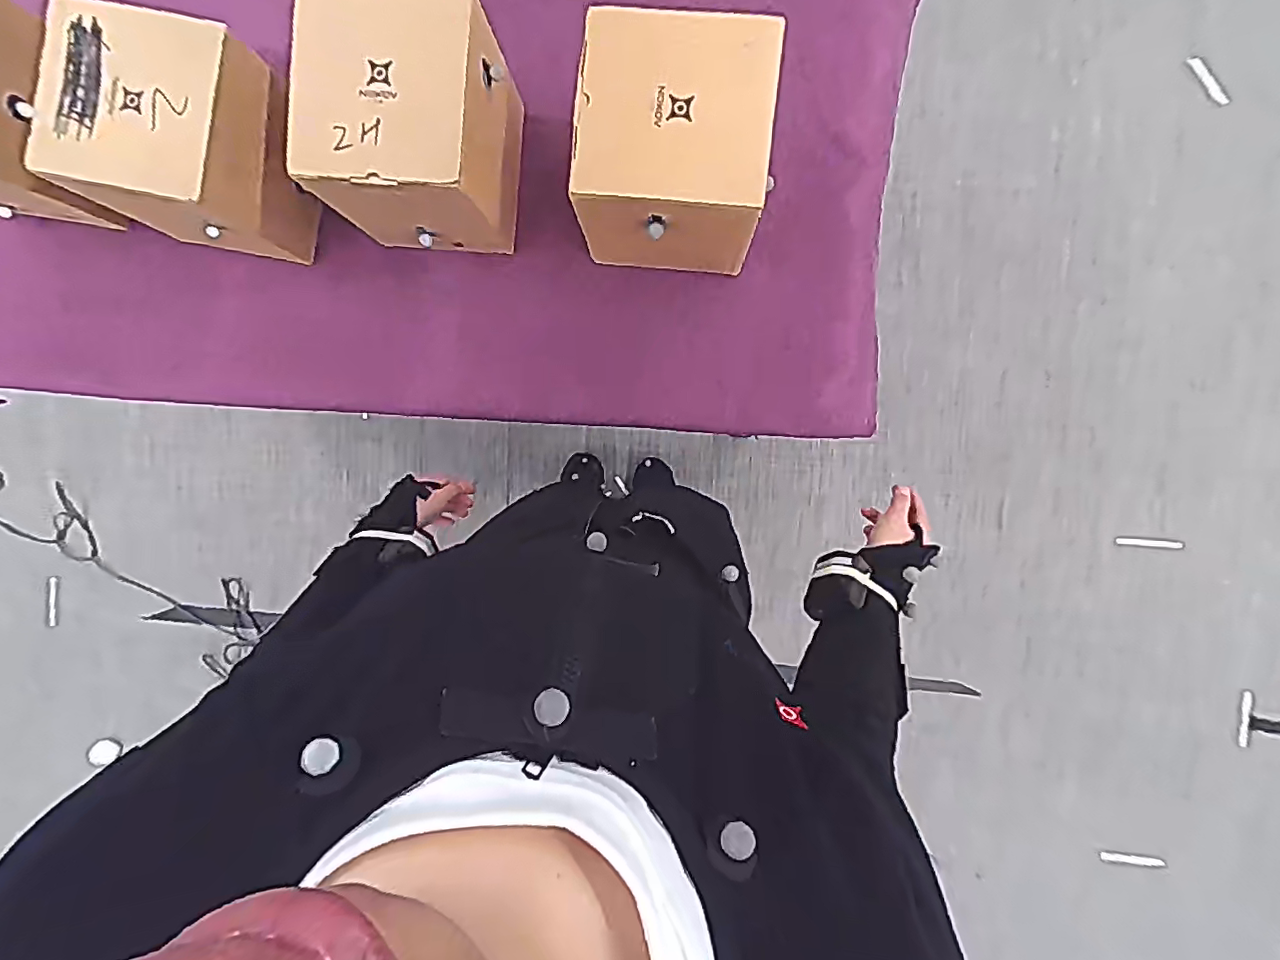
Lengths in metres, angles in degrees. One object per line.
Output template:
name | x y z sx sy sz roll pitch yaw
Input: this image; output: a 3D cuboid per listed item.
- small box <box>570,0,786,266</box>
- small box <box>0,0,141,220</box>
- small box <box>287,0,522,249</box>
small box | 0.036 -0.333 0.553 0.179 0.176 0.168 6 92 4
small box | -0.704 -0.411 0.591 0.168 0.176 0.179 10 94 2
small box | -0.229 -0.367 0.567 0.168 0.176 0.179 5 93 4
